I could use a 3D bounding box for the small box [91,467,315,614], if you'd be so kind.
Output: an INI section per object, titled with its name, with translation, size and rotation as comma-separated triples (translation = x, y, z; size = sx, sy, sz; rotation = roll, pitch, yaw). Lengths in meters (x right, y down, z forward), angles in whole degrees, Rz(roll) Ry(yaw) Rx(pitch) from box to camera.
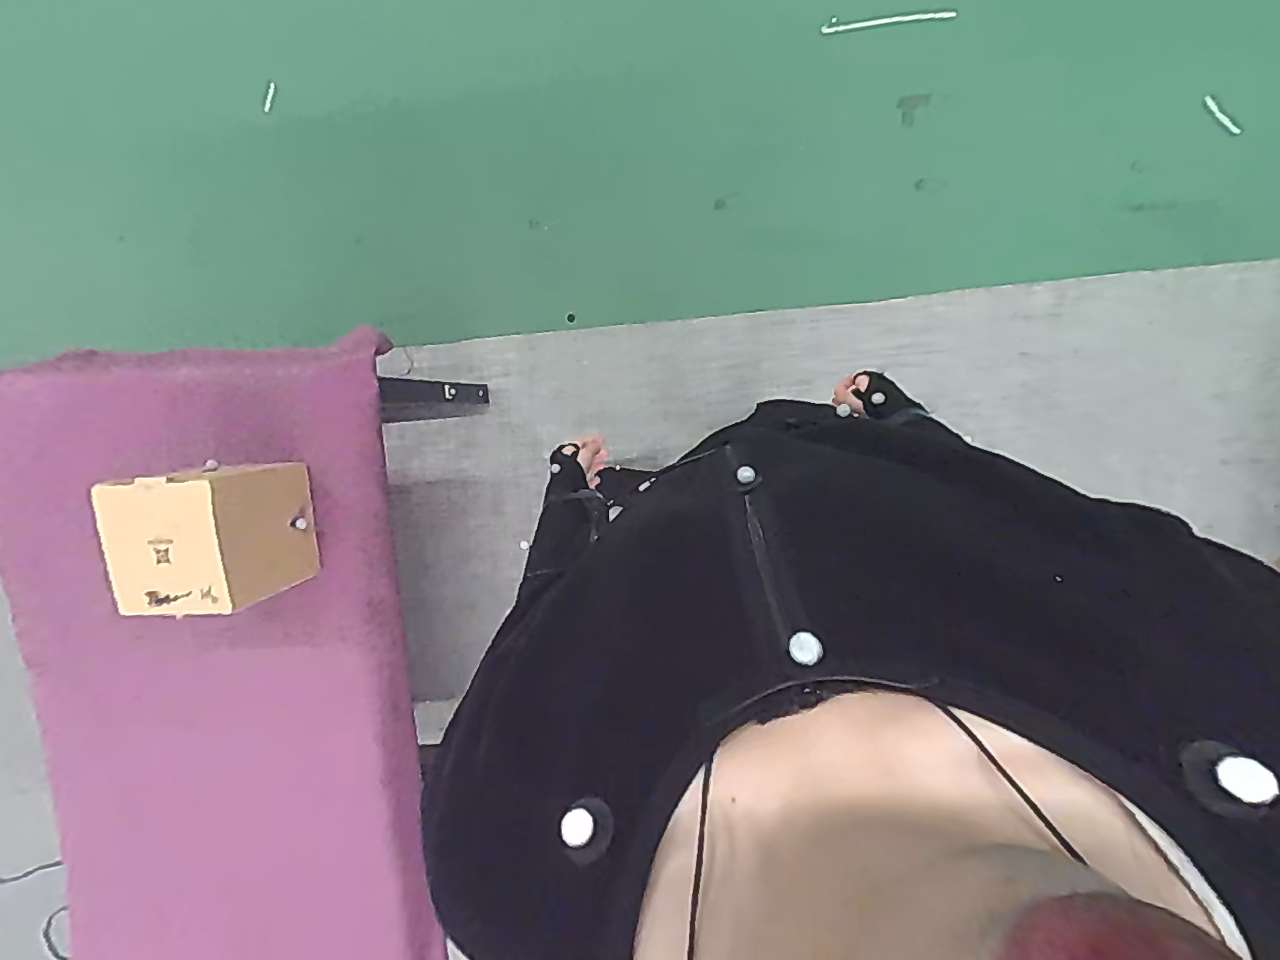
[small box]
translation = -0.589, 0.074, 0.752
size = 0.168, 0.176, 0.179
rotation = -2, 97, 8
